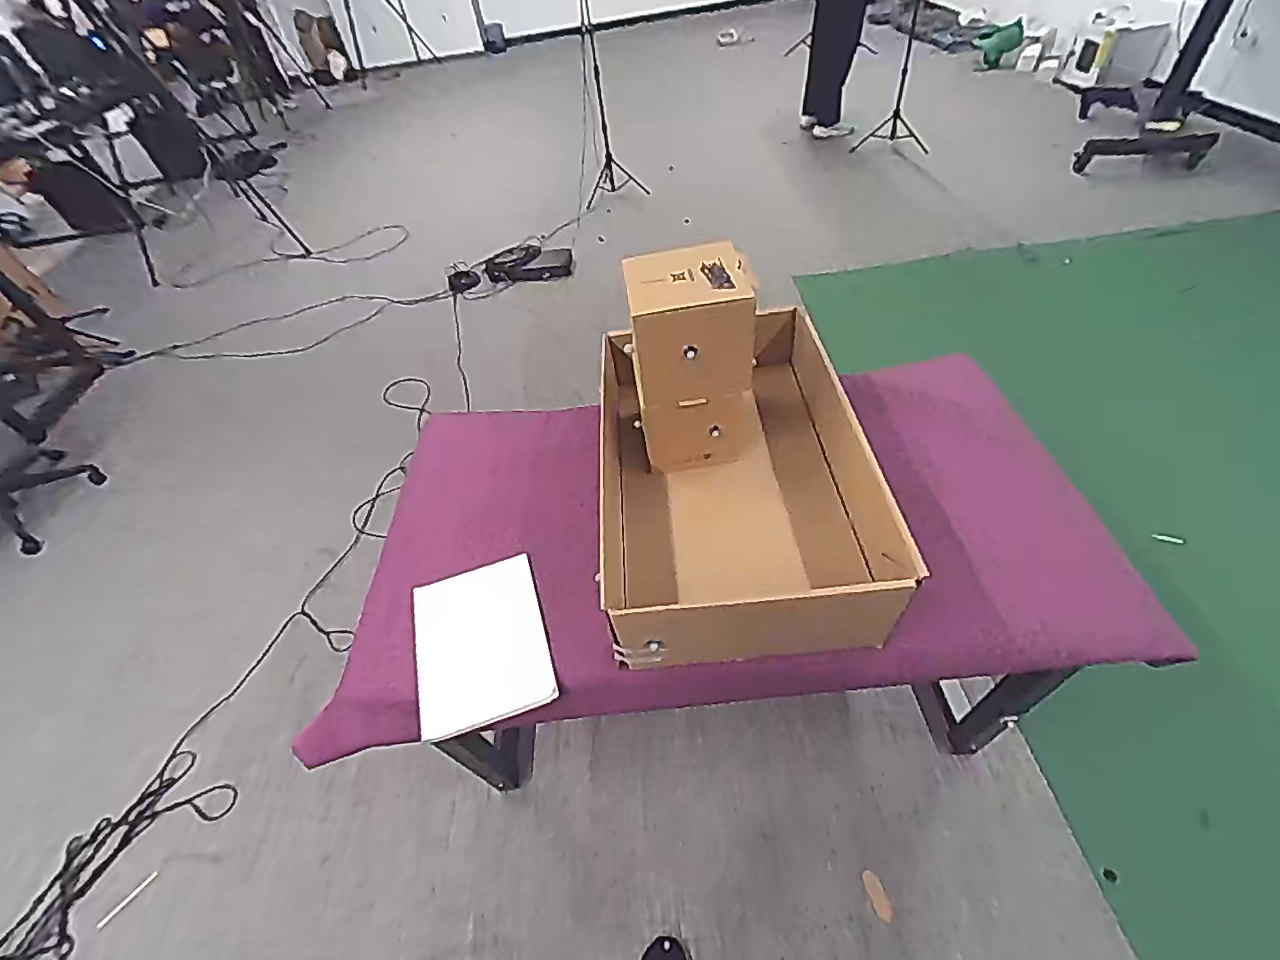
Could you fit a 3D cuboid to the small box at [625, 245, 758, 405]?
[{"bbox_3d":[0.076,-0.240,0.849,0.179,0.176,0.168,-9,49,1],"label":"small box"}]
